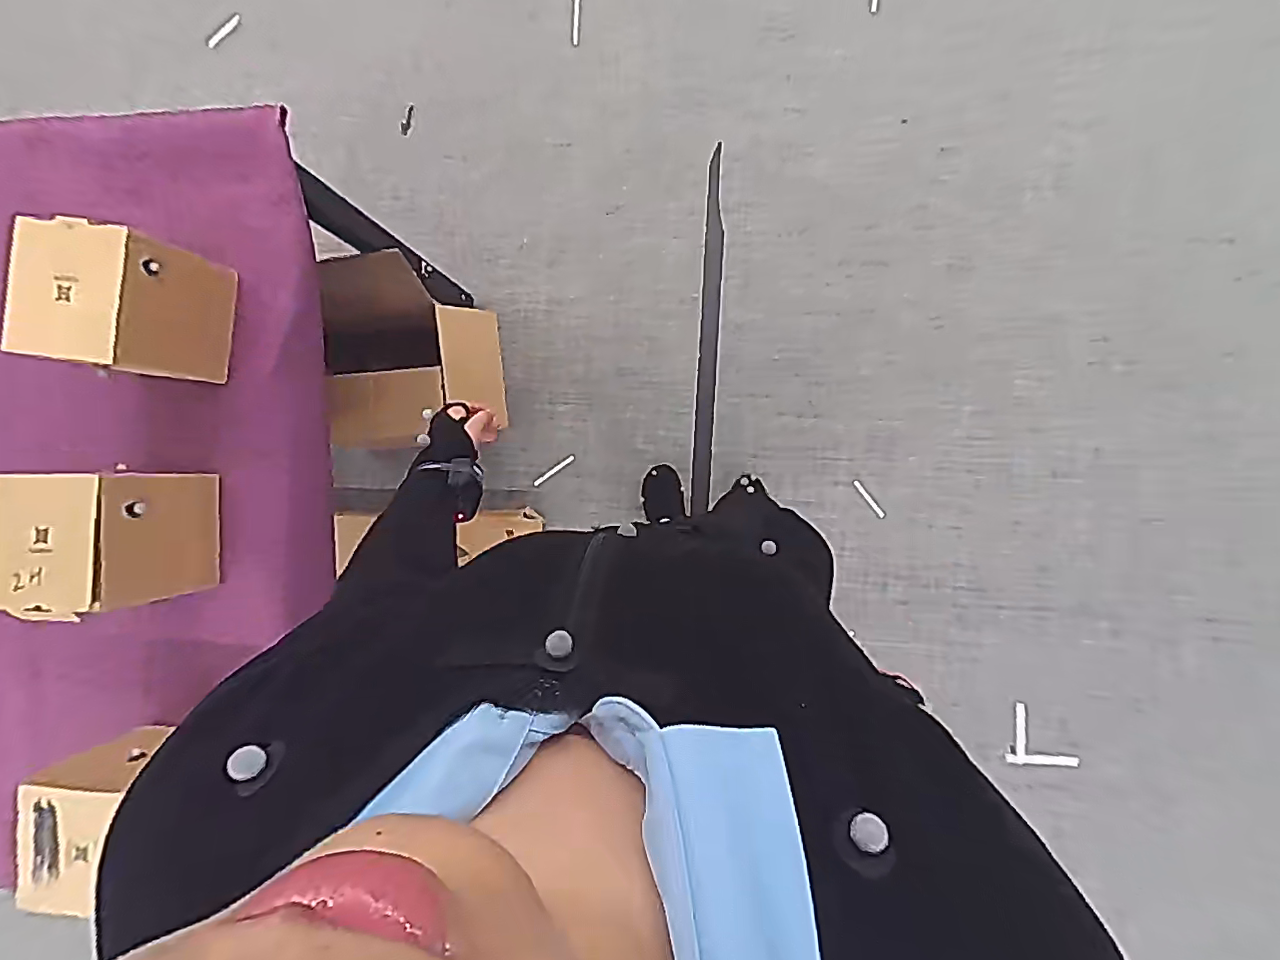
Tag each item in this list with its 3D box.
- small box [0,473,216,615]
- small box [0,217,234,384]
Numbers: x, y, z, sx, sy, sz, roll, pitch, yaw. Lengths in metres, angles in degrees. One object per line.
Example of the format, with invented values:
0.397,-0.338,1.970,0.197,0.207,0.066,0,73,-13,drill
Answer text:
-0.737,0.080,0.758,0.168,0.176,0.179,0,90,9,small box
-0.713,-0.237,0.755,0.168,0.176,0.179,7,91,6,small box
